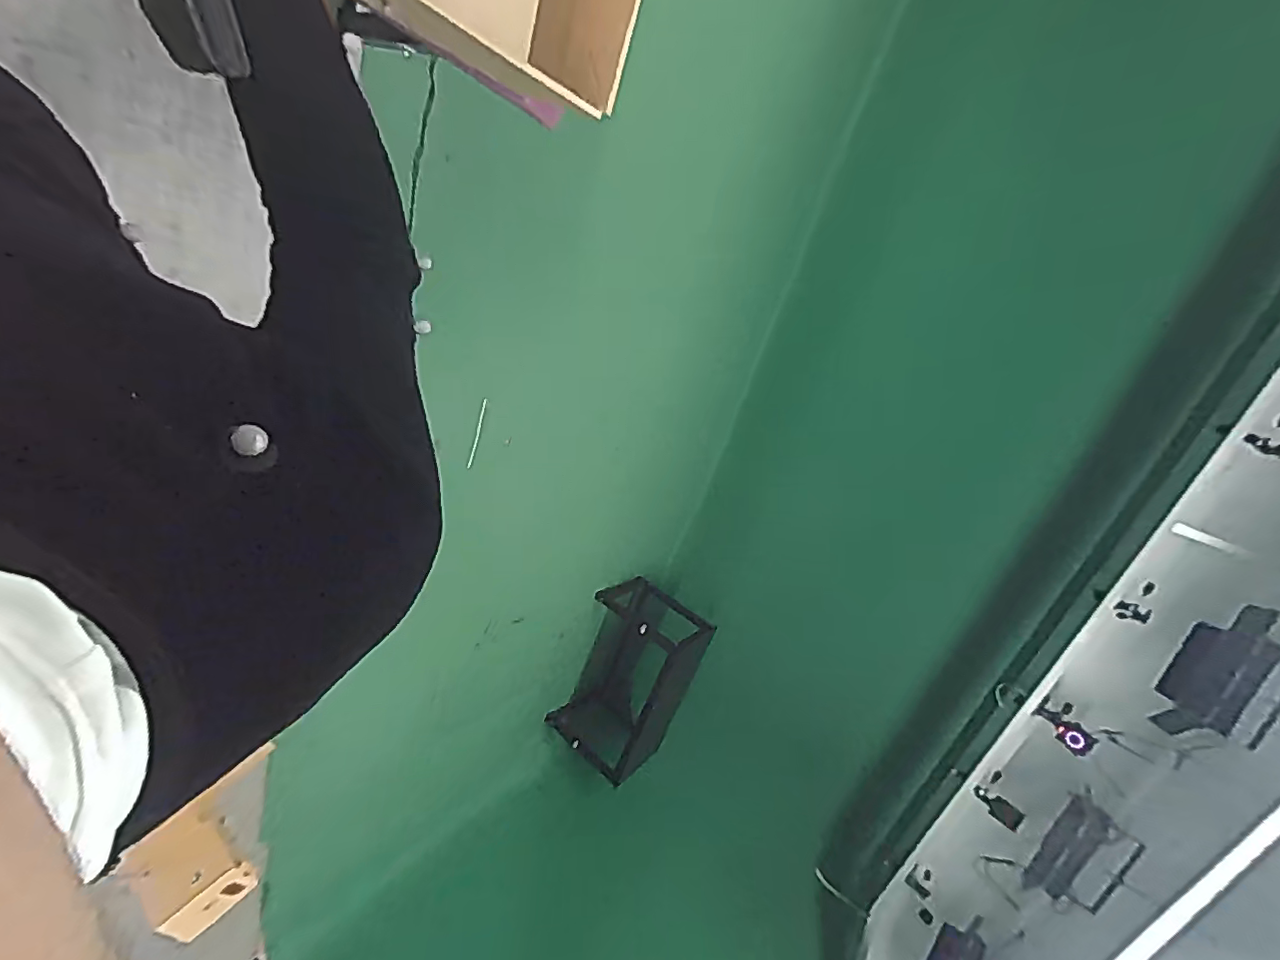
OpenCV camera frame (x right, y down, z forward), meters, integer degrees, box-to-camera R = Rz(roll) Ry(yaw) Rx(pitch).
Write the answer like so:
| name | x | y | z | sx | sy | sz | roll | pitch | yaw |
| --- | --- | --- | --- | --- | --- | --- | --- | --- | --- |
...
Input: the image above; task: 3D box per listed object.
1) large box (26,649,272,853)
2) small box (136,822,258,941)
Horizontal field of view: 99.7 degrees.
| name | x | y | z | sx | sy | sz | roll | pitch | yaw |
| --- | --- | --- | --- | --- | --- | --- | --- | --- | --- |
| large box | -1.451 | 0.804 | 1.629 | 0.408 | 0.320 | 0.320 | -43 | 150 | -32 |
| small box | -1.179 | 1.062 | 1.441 | 0.179 | 0.176 | 0.168 | -37 | 145 | -37 |
